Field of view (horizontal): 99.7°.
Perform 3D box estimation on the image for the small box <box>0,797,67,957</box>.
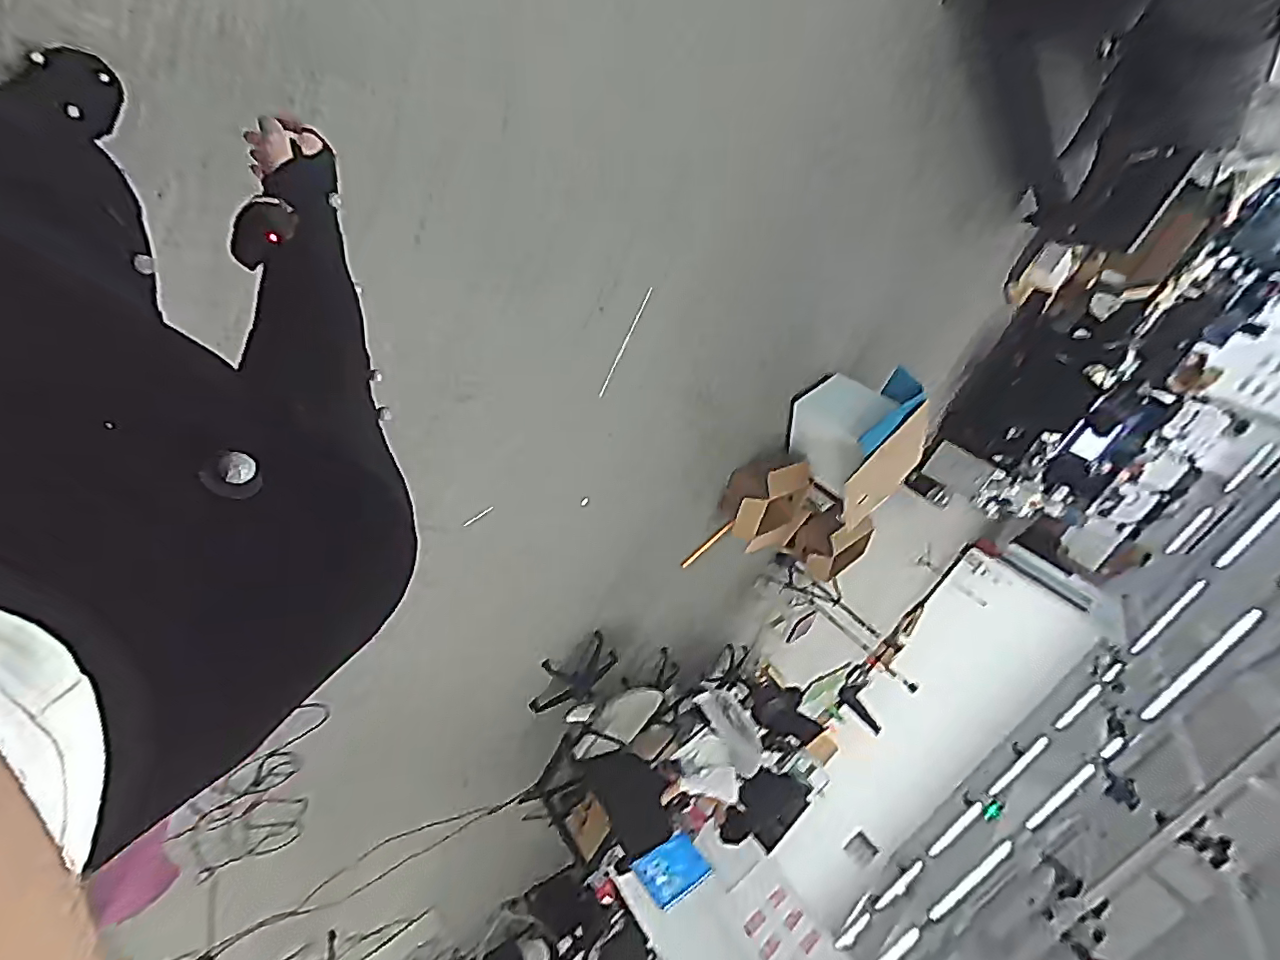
[{"bbox_3d":[-1.044,0.642,0.862,0.168,0.176,0.179,6,121,-48],"label":"small box"}]
